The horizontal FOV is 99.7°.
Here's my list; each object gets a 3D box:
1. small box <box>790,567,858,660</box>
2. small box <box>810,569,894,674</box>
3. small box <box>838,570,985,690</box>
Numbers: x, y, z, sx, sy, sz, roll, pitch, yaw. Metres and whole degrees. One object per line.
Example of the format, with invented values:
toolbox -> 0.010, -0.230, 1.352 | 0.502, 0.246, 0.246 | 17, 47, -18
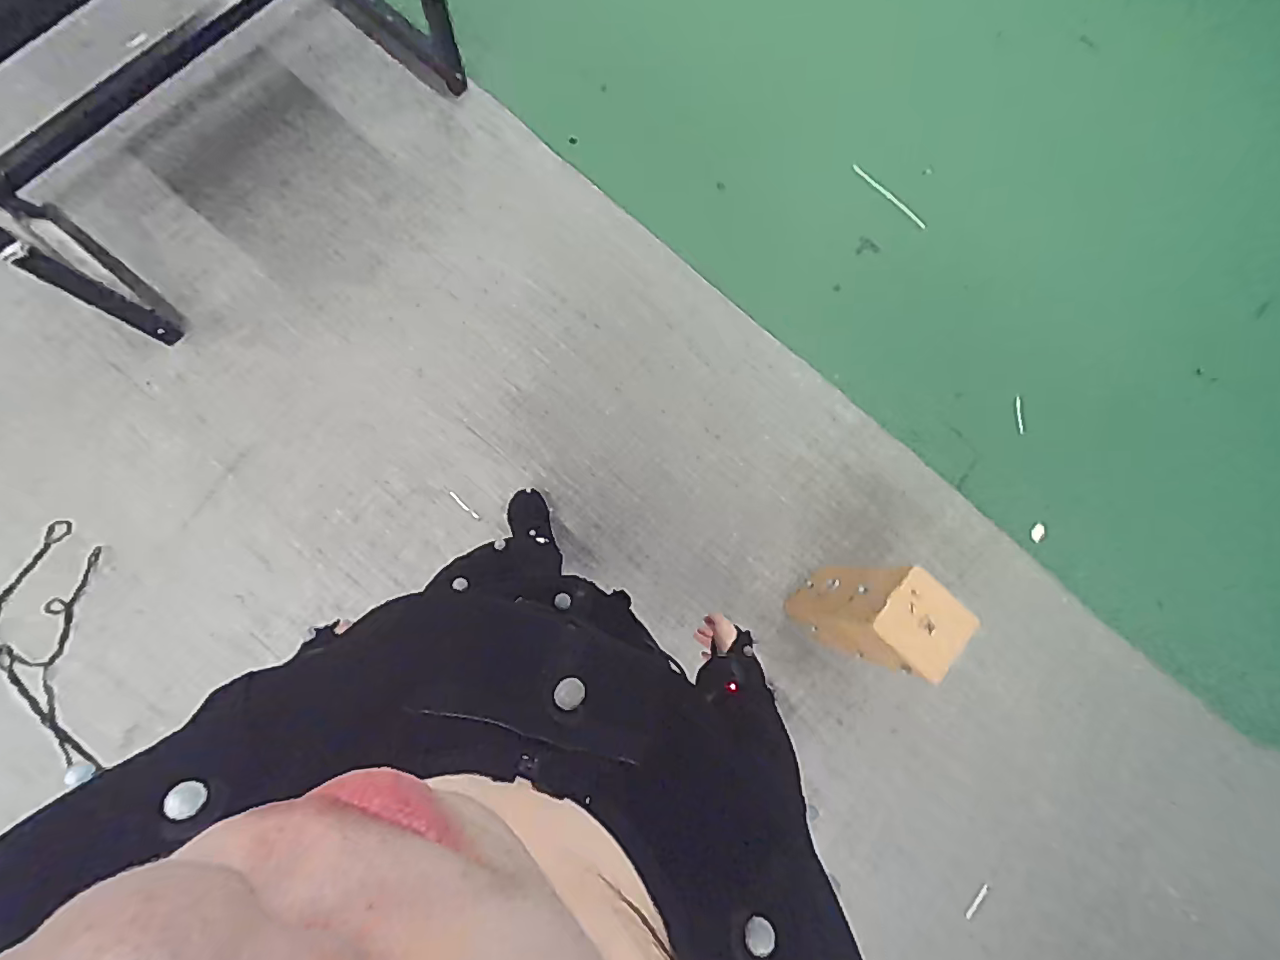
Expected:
small box -> 0.536, 0.354, 1.456 | 0.168, 0.176, 0.179 | -44, 86, -10
small box -> 0.547, 0.330, 1.296 | 0.179, 0.176, 0.168 | 42, 79, 4
small box -> 0.558, 0.303, 1.133 | 0.179, 0.176, 0.168 | 43, 78, 2
